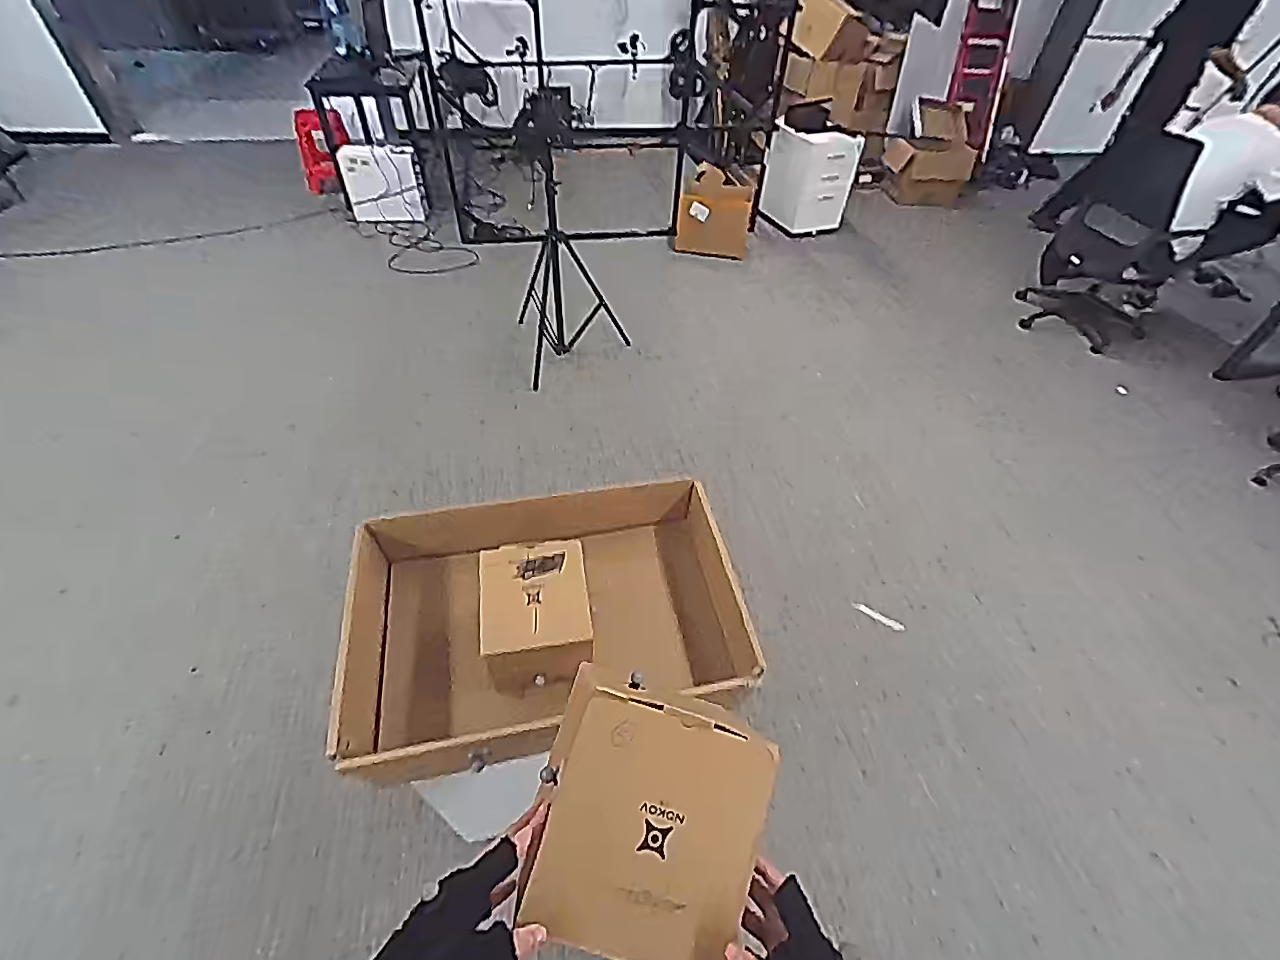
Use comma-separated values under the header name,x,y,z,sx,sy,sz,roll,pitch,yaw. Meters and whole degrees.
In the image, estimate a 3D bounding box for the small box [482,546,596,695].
name,x,y,z,sx,sy,sz,roll,pitch,yaw
small box,-0.166,0.233,0.897,0.168,0.176,0.179,-6,52,-9

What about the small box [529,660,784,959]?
name,x,y,z,sx,sy,sz,roll,pitch,yaw
small box,0.006,0.276,0.494,0.168,0.176,0.179,19,76,-4
